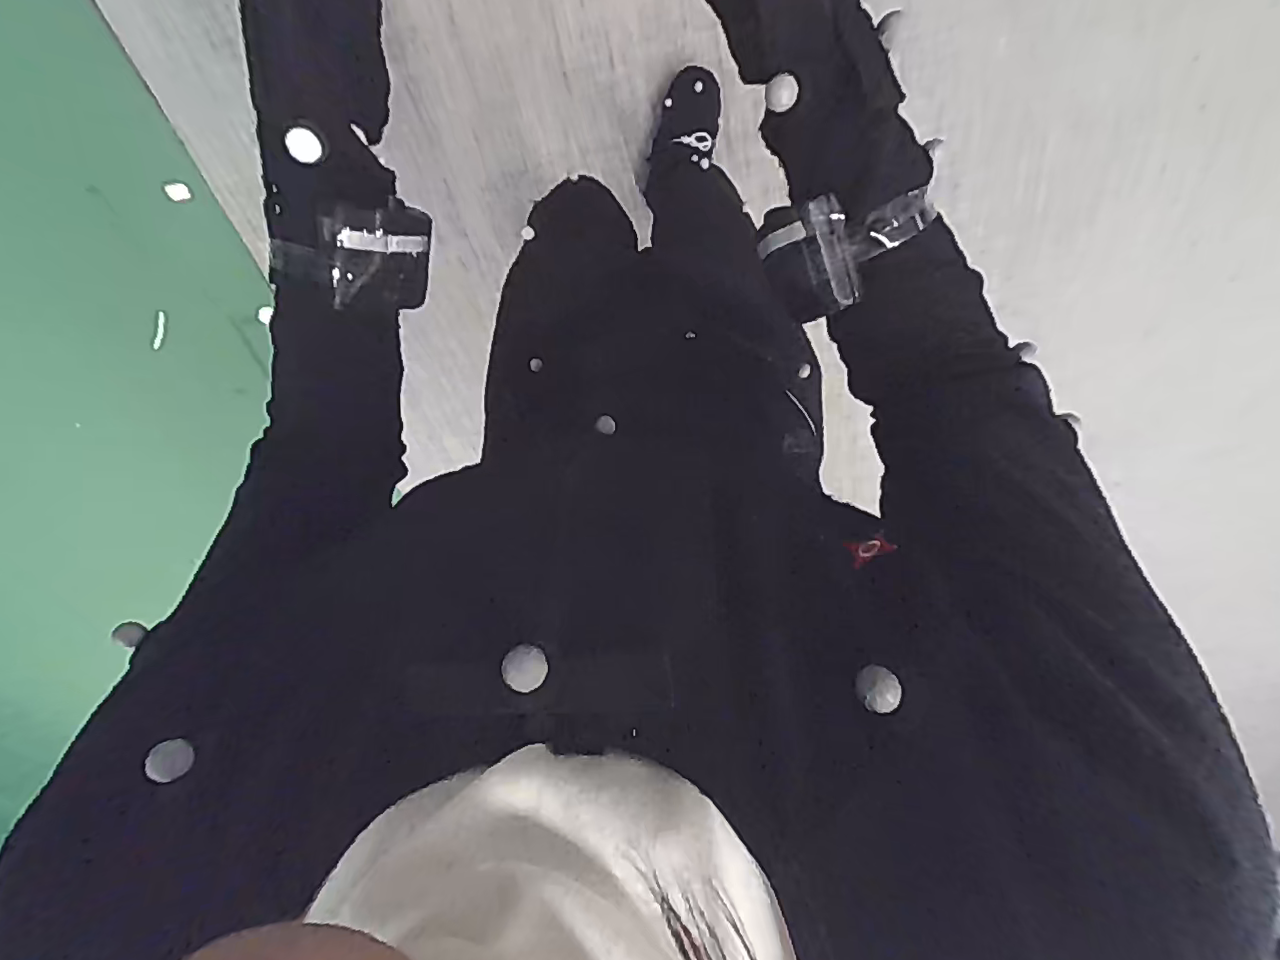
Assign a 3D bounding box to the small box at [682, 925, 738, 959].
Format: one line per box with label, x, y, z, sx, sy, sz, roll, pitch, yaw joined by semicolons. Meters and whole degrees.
small box;0.233;1.604;1.791;0.179;0.176;0.168;-8;127;8
